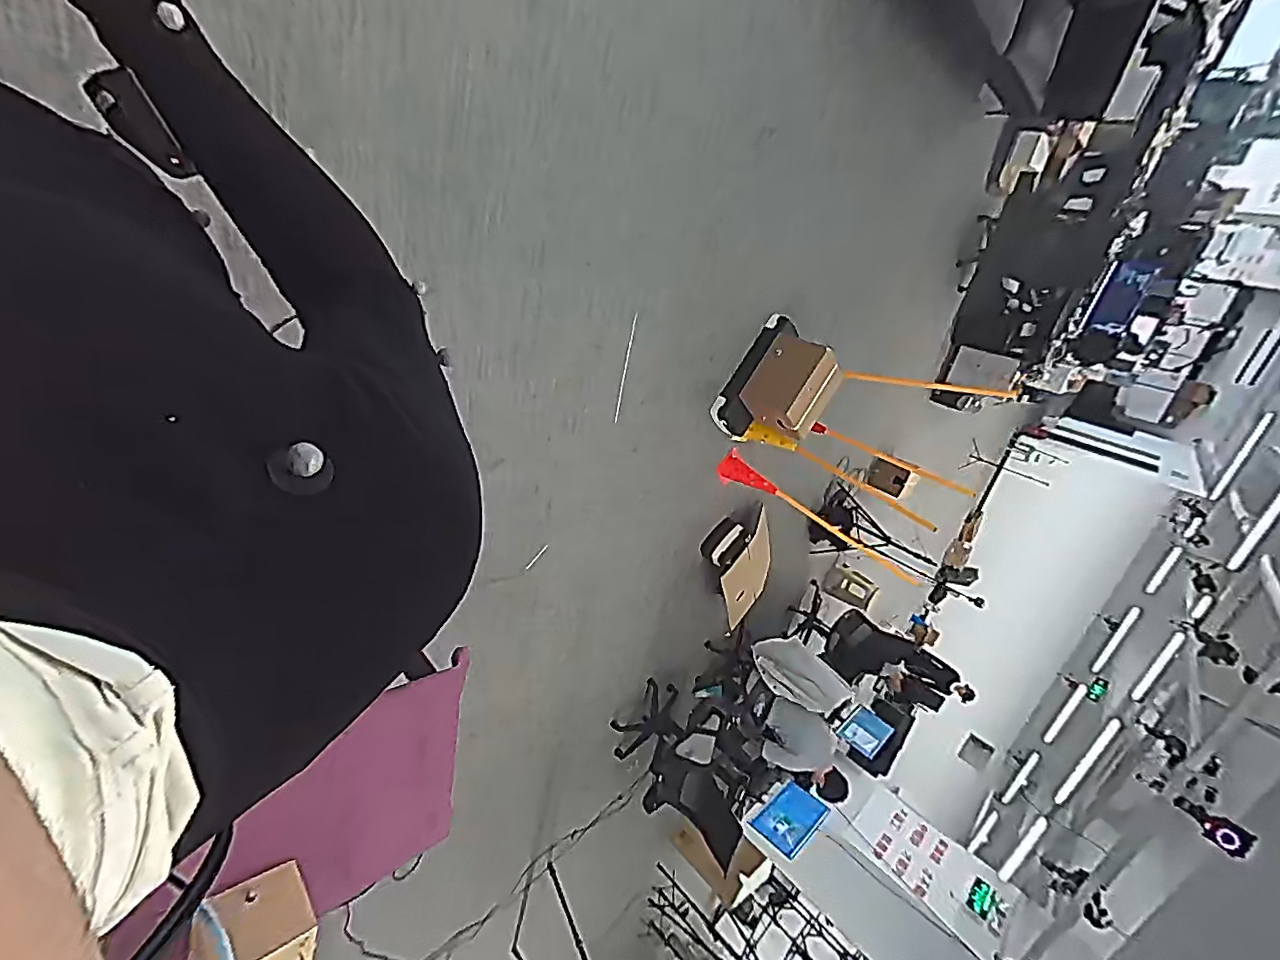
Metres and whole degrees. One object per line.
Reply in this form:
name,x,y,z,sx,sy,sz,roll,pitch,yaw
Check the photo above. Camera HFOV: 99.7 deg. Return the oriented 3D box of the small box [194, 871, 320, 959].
small box,-0.780,0.956,1.094,0.179,0.176,0.168,-1,114,-49
